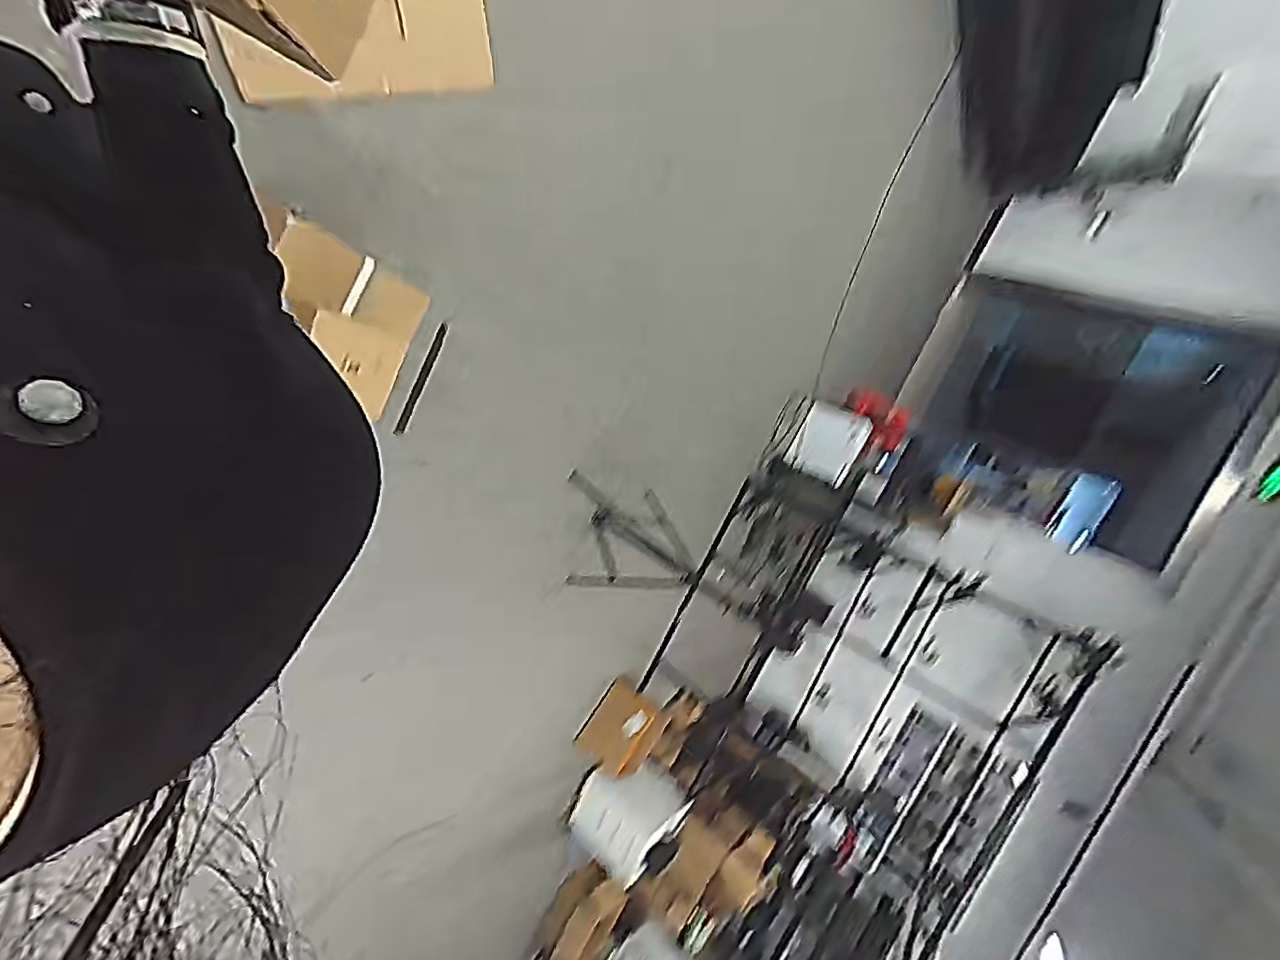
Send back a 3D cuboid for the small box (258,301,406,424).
[{"bbox_3d":[-0.601,-0.230,1.050,0.179,0.176,0.168,15,102,-56],"label":"small box"}]
